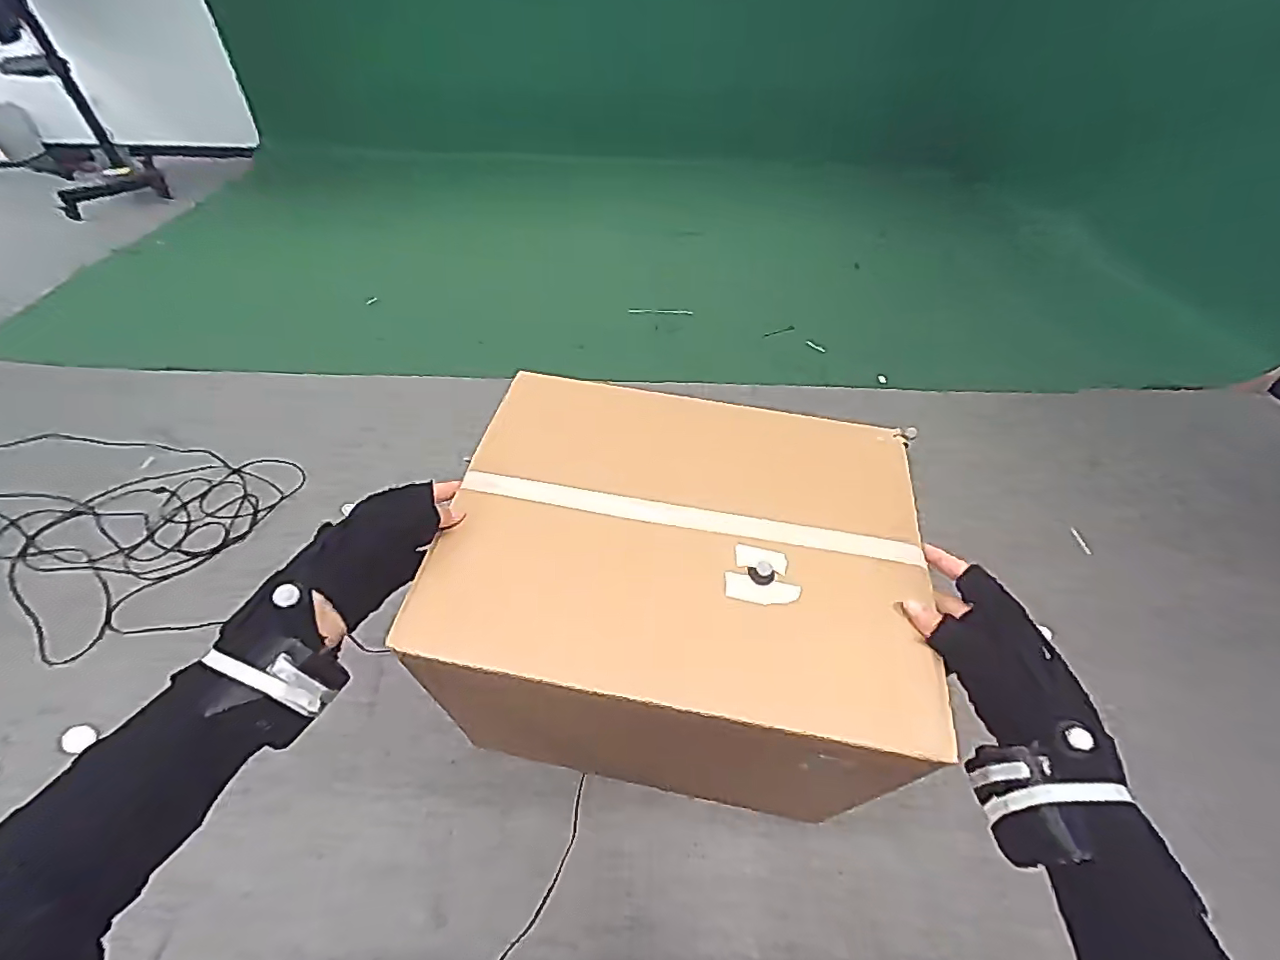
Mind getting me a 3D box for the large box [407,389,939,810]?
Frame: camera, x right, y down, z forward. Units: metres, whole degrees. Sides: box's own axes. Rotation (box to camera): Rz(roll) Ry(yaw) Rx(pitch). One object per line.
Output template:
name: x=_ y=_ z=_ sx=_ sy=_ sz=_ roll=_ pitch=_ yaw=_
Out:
large box: x=0.034 y=0.136 z=0.601 sx=0.408 sy=0.320 sz=0.320 roll=9 pitch=52 yaw=5
